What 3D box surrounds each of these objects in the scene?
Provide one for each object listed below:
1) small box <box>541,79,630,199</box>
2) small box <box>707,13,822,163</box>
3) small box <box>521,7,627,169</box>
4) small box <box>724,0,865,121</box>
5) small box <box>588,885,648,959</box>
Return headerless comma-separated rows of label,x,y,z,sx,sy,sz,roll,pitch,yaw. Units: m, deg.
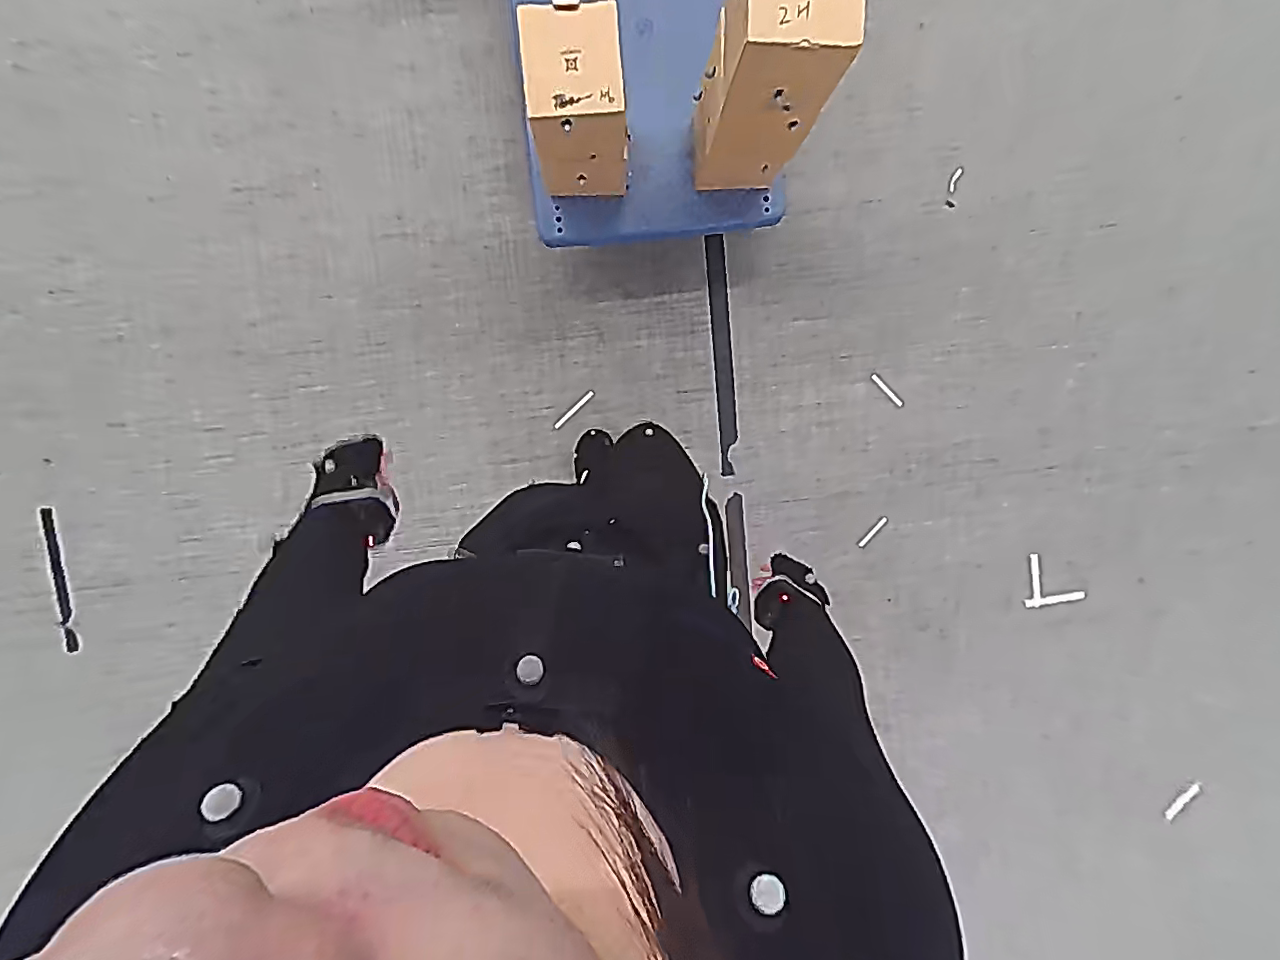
small box,-0.113,-0.710,1.137,0.179,0.176,0.168,-2,96,-1
small box,0.219,-0.703,0.986,0.179,0.176,0.168,-1,96,-3
small box,-0.112,-0.693,0.973,0.168,0.176,0.179,-5,95,-1
small box,0.225,-0.689,0.822,0.168,0.176,0.179,1,96,-2
small box,-0.065,1.312,1.563,0.168,0.176,0.179,0,97,-1
